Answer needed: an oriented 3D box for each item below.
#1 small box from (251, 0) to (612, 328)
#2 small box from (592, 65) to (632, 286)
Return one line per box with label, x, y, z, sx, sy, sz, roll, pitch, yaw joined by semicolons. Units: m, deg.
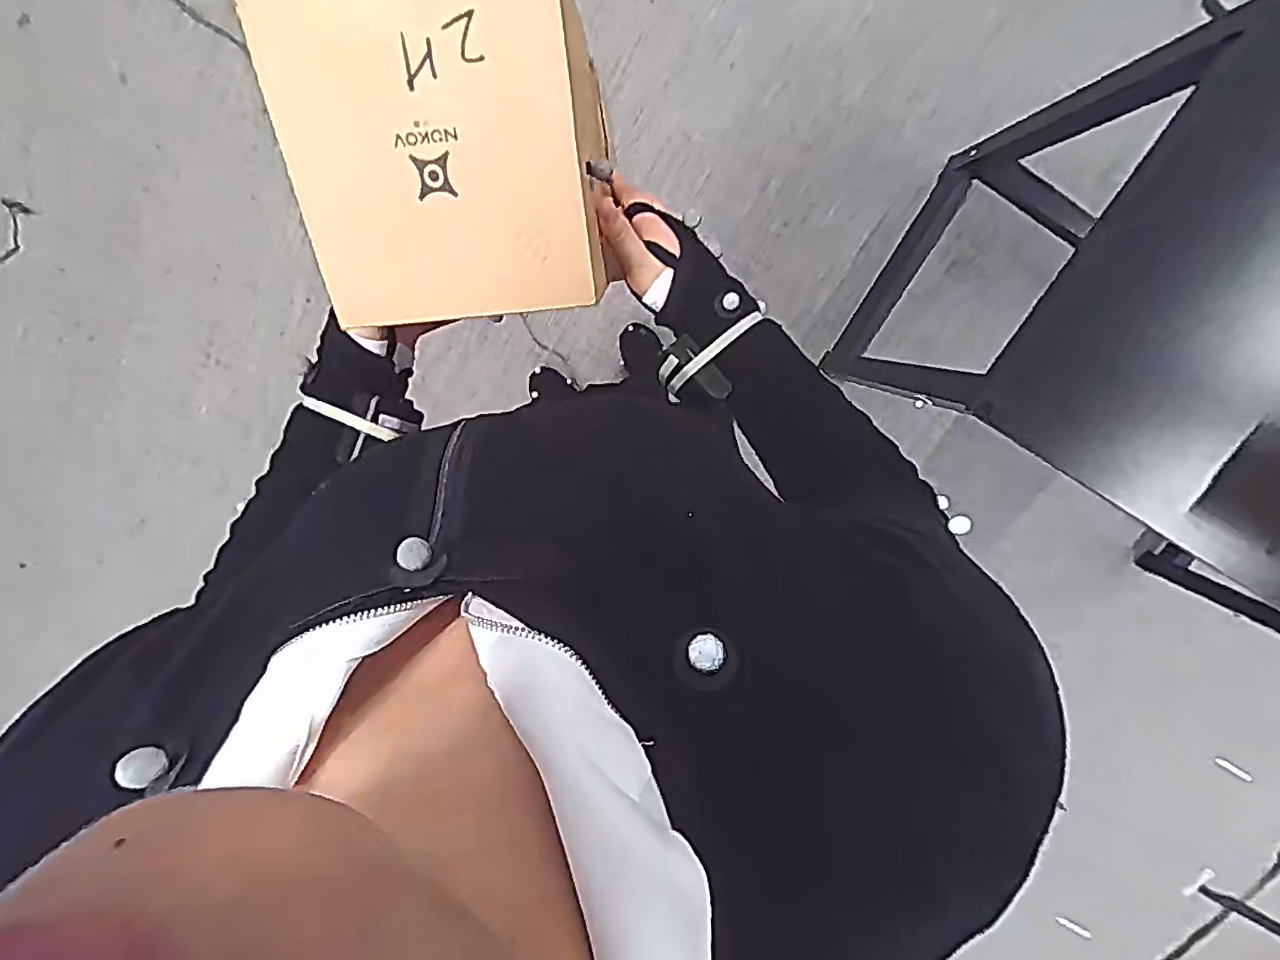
small box;-0.111;-0.215;0.378;0.168;0.176;0.179;-4;114;2
small box;-0.105;-0.277;0.531;0.179;0.176;0.168;-7;115;4
